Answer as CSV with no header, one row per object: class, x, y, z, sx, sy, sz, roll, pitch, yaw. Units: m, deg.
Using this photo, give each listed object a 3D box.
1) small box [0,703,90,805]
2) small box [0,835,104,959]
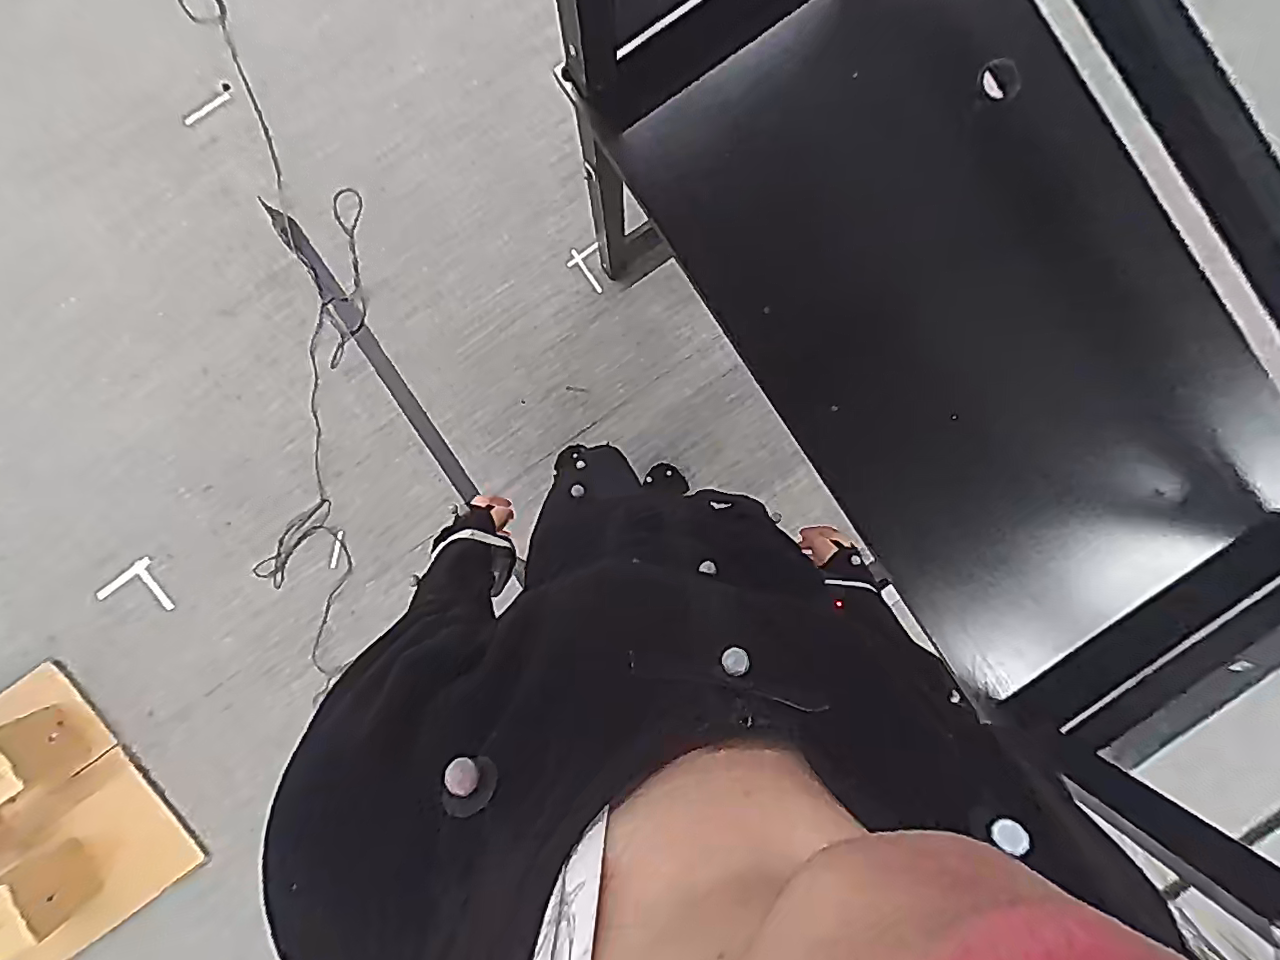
small box,-1.611,0.719,1.397,0.179,0.176,0.168,-35,93,-1
small box,-1.580,1.084,1.410,0.168,0.176,0.179,-27,94,0
